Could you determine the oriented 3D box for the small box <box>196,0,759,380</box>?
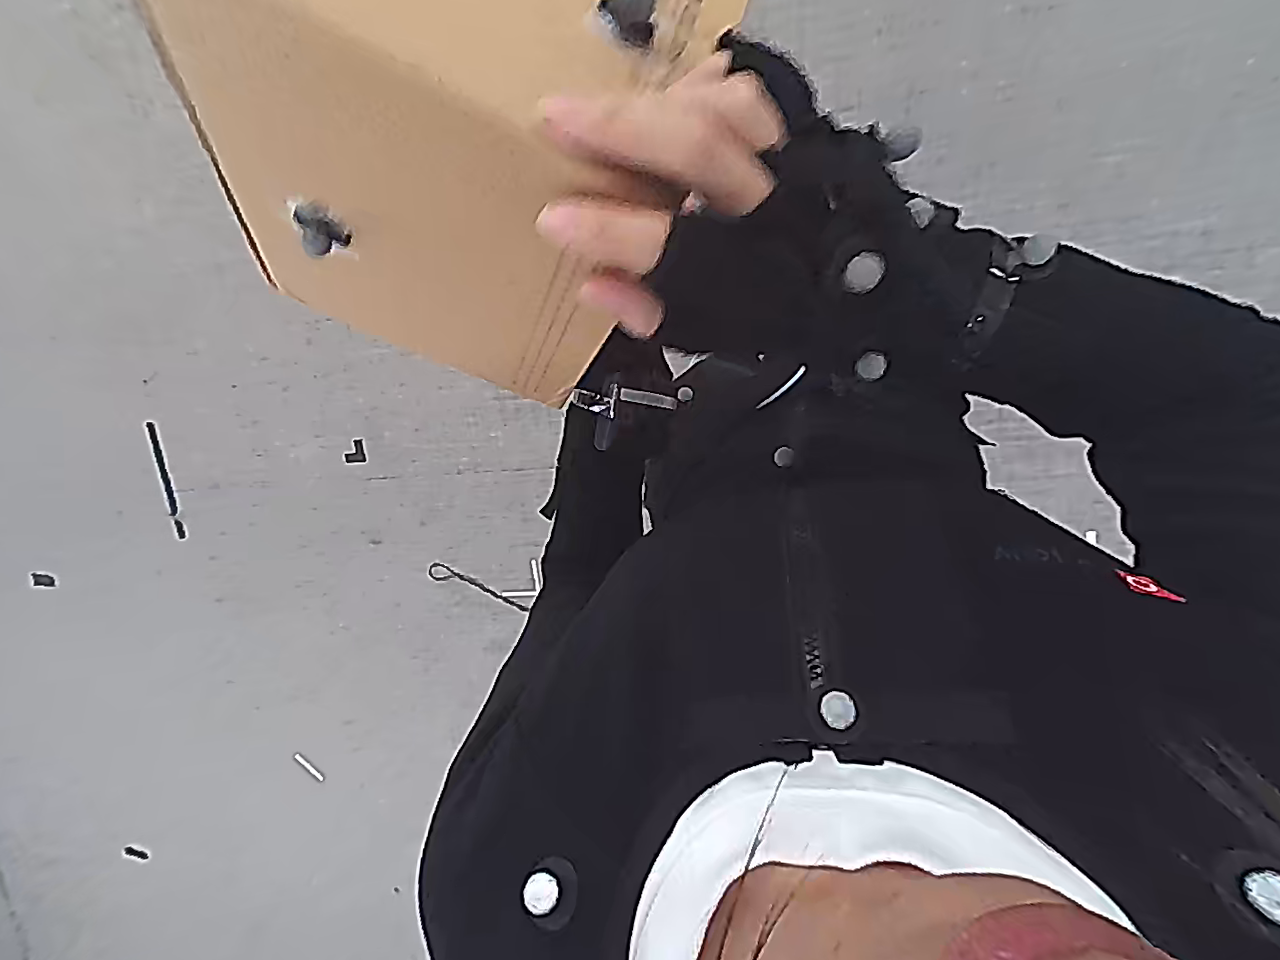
[{"bbox_3d":[-0.064,-0.177,0.271,0.176,0.179,0.168,21,68,-16],"label":"small box"}]
